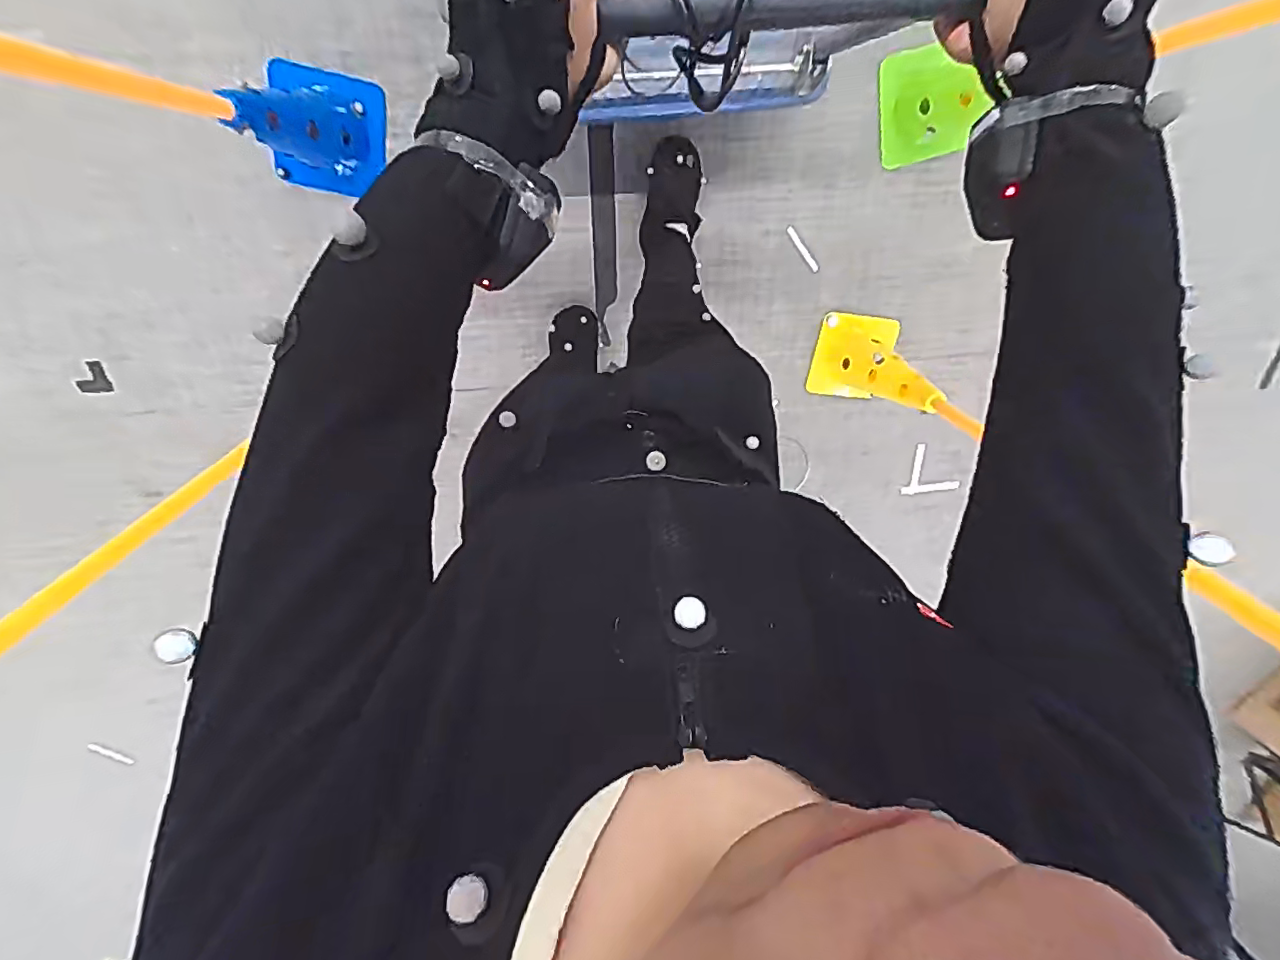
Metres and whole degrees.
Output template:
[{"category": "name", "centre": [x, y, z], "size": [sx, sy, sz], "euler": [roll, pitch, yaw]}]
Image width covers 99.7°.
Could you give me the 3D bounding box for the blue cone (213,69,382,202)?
[{"category": "blue cone", "centre": [-0.565, -0.562, 0.868], "size": [0.193, 0.380, 0.192], "euler": [9, 117, -12]}]

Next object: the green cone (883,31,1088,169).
[{"category": "green cone", "centre": [0.609, -0.679, 0.942], "size": [0.200, 0.368, 0.202], "euler": [-16, 120, 1]}]
